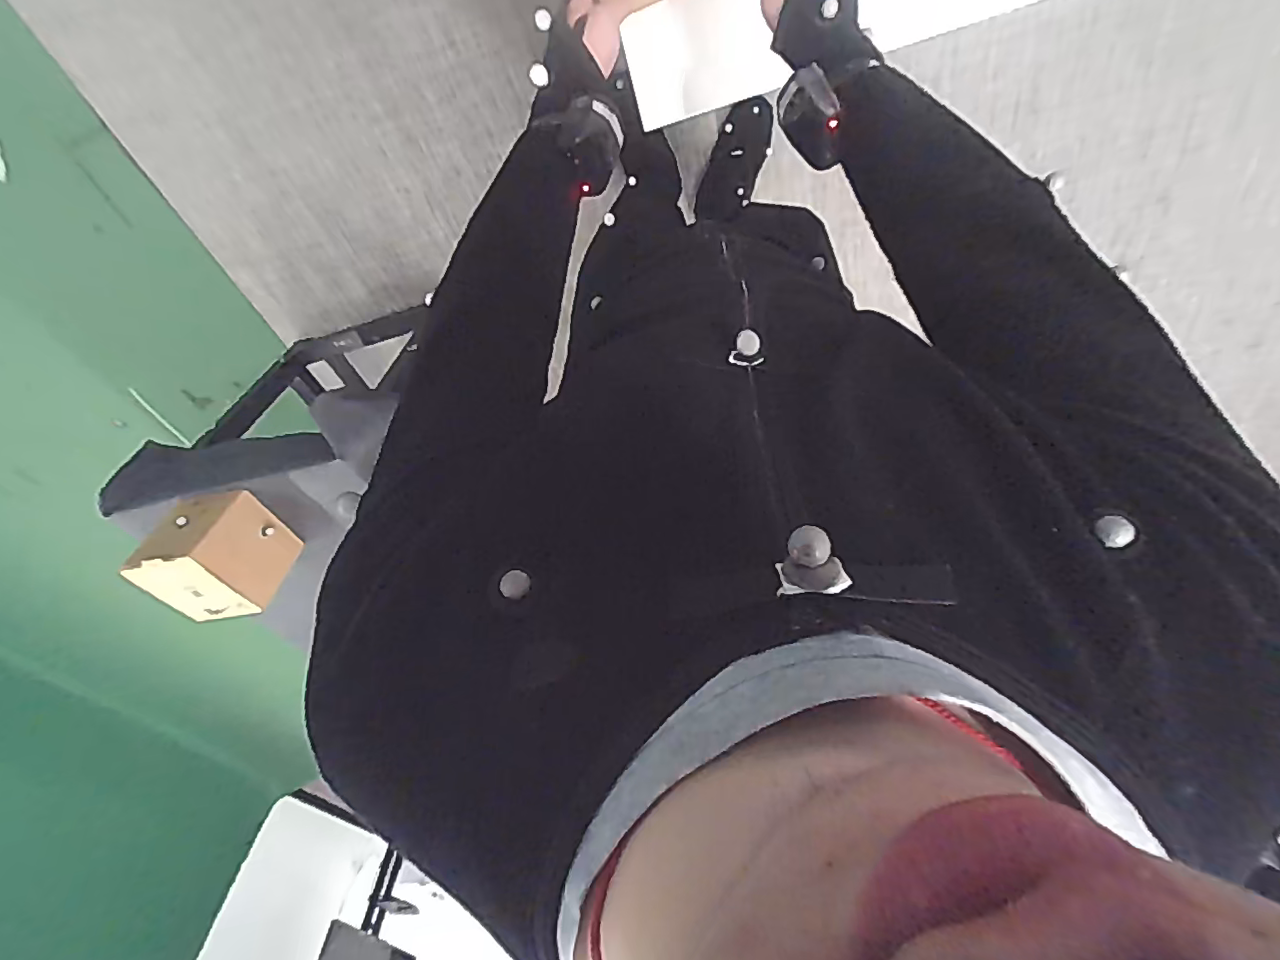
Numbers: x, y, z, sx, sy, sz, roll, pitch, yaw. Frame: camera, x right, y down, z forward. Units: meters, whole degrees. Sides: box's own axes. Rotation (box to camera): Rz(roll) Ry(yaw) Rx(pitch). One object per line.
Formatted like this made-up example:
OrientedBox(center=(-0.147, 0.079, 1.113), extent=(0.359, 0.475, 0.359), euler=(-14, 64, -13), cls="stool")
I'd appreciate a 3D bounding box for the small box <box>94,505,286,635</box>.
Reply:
OrientedBox(center=(-0.818, 0.161, 1.006), extent=(0.168, 0.176, 0.179), euler=(-10, 131, 12), cls="small box")
